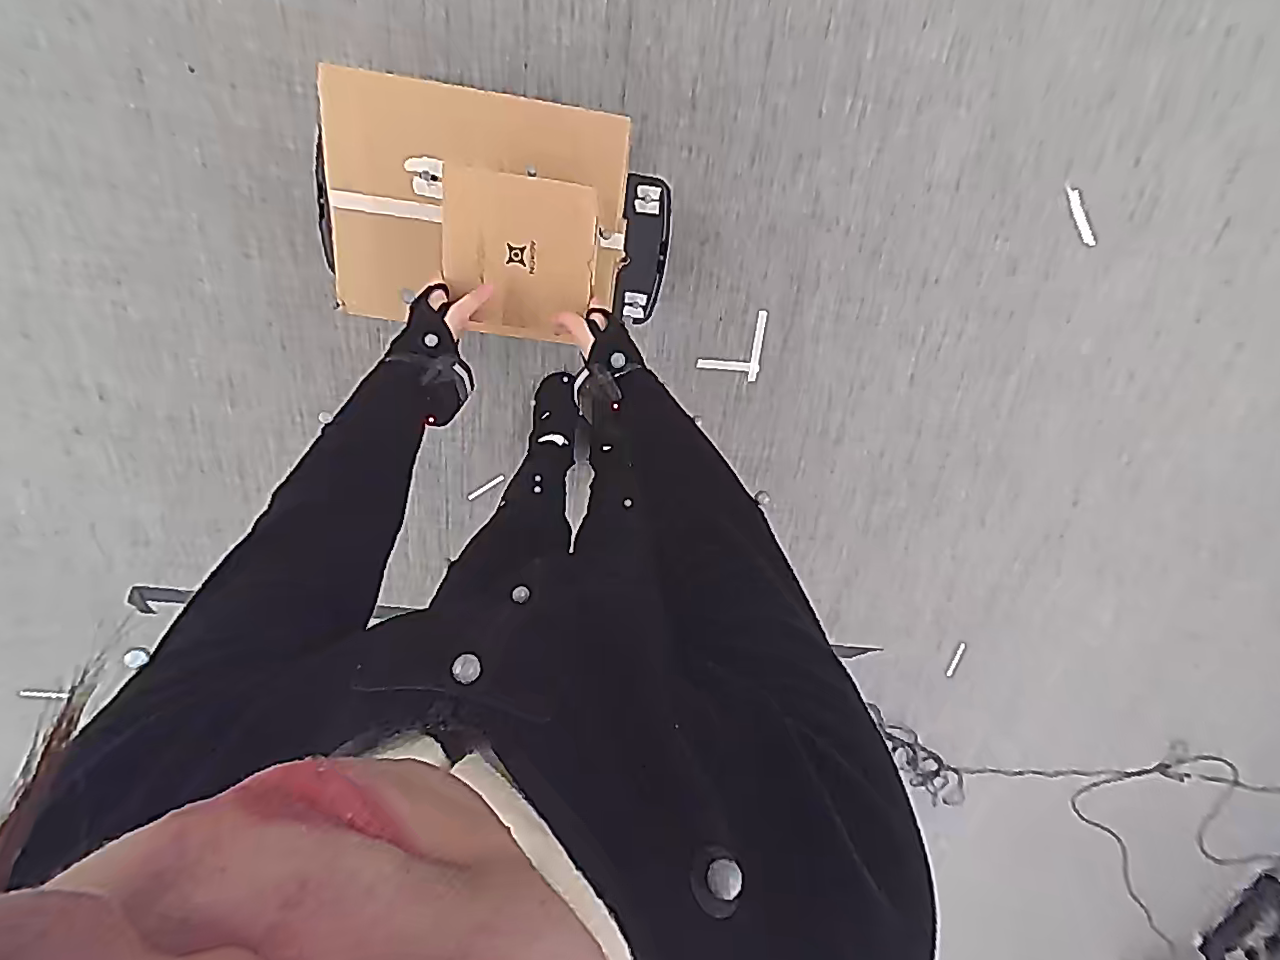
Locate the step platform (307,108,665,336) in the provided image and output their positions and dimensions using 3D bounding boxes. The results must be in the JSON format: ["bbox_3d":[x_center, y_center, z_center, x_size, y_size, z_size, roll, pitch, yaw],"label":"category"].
[{"bbox_3d":[-0.294,-0.511,1.113,0.684,0.204,0.286,12,113,-7],"label":"step platform"}]

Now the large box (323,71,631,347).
[{"bbox_3d":[-0.227,-0.424,0.894,0.408,0.320,0.320,6,113,-5],"label":"large box"}]

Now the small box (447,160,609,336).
[{"bbox_3d":[-0.135,-0.290,0.687,0.179,0.176,0.168,6,113,-5],"label":"small box"}]
